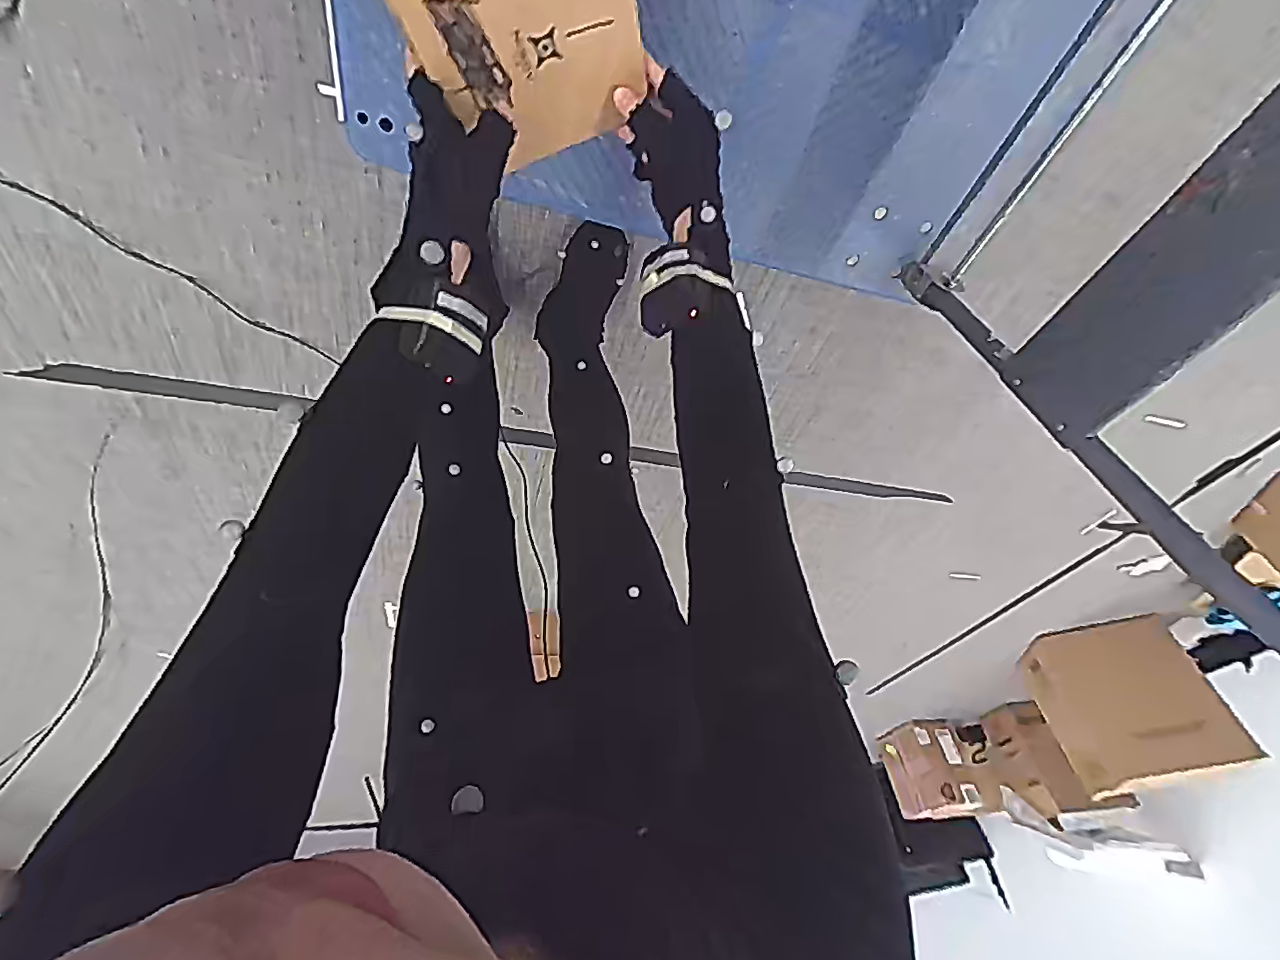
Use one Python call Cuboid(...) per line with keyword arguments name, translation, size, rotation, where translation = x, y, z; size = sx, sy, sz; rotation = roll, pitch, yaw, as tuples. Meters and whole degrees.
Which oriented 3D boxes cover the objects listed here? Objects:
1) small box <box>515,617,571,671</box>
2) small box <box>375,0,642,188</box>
Cuboid(name="small box", translation=(-0.347, 0.597, 1.916), size=(0.179, 0.176, 0.168), rotation=(4, 138, -15))
Cuboid(name="small box", translation=(-0.117, -0.398, 0.460), size=(0.179, 0.176, 0.168), rotation=(-24, 154, -1))
